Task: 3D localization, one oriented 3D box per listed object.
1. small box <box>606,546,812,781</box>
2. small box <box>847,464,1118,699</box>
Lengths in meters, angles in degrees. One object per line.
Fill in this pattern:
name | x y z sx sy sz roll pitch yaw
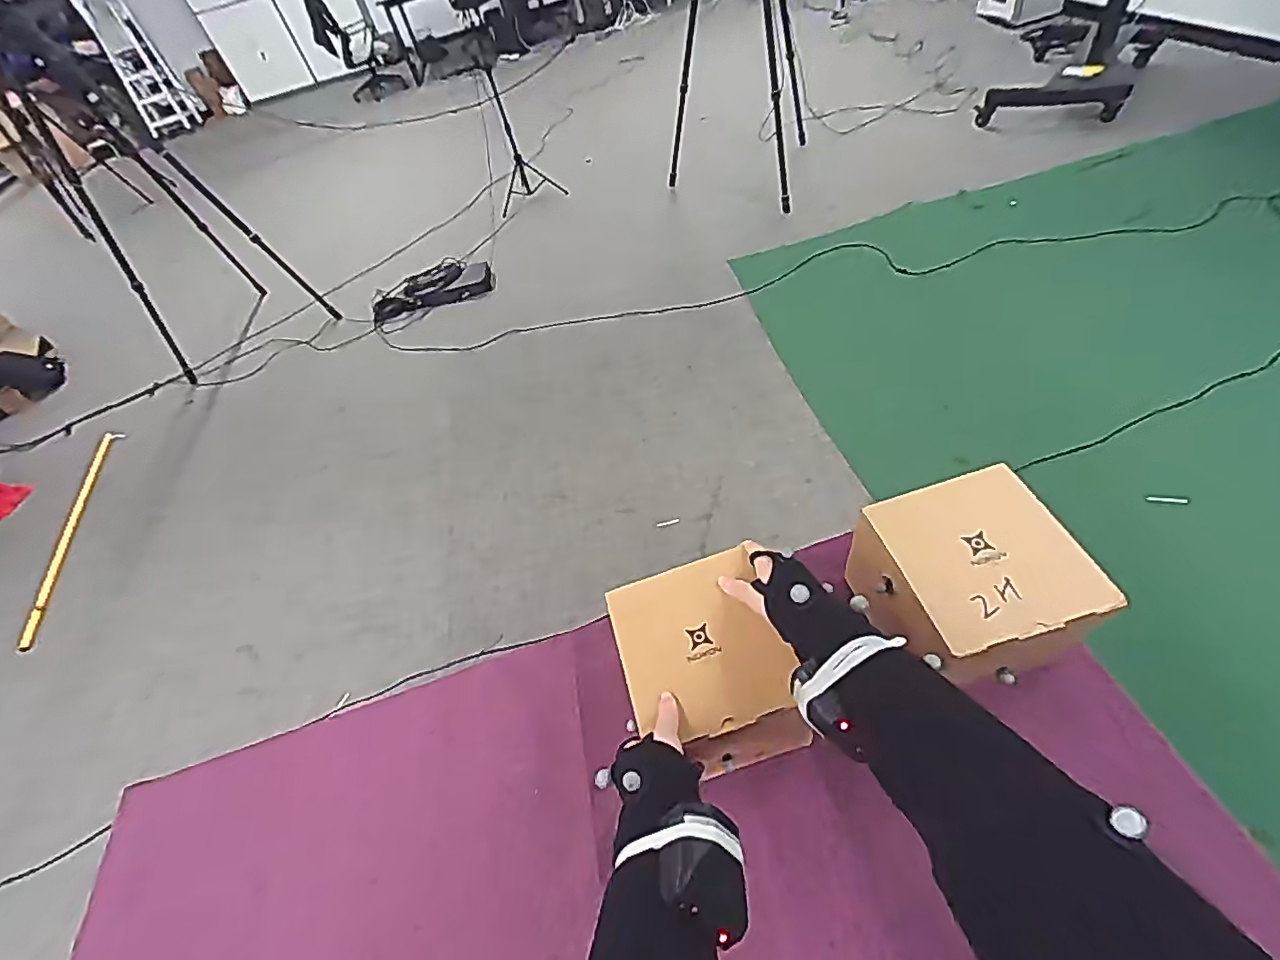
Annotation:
small box | 0.074 0.208 0.605 0.168 0.176 0.179 -19 52 0
small box | 0.348 0.116 0.600 0.168 0.176 0.179 -18 53 1
